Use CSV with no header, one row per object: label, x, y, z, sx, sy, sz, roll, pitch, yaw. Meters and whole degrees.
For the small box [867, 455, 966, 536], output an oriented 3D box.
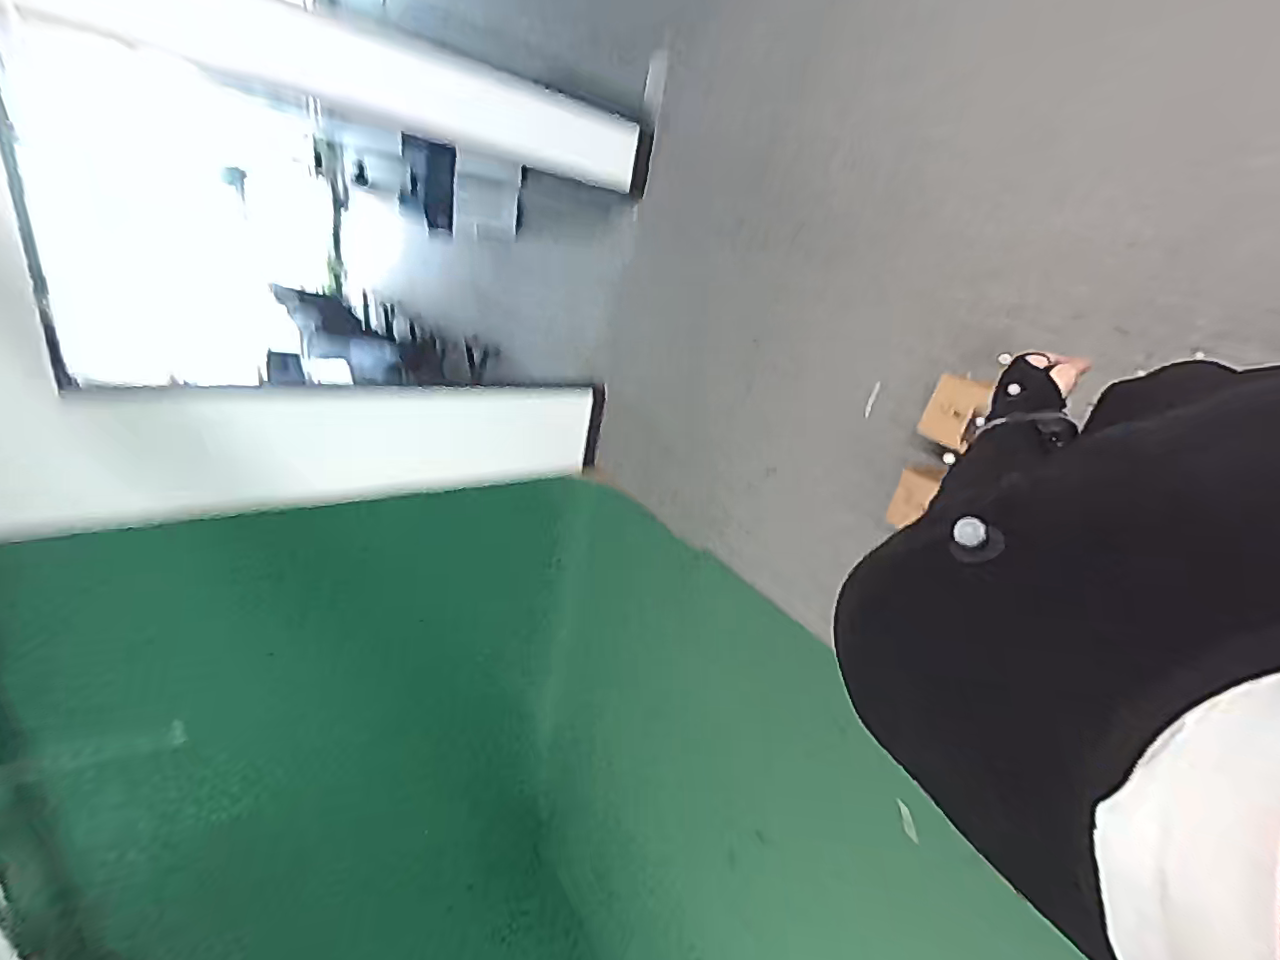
small box,0.800,0.036,1.560,0.179,0.176,0.168,36,123,42
